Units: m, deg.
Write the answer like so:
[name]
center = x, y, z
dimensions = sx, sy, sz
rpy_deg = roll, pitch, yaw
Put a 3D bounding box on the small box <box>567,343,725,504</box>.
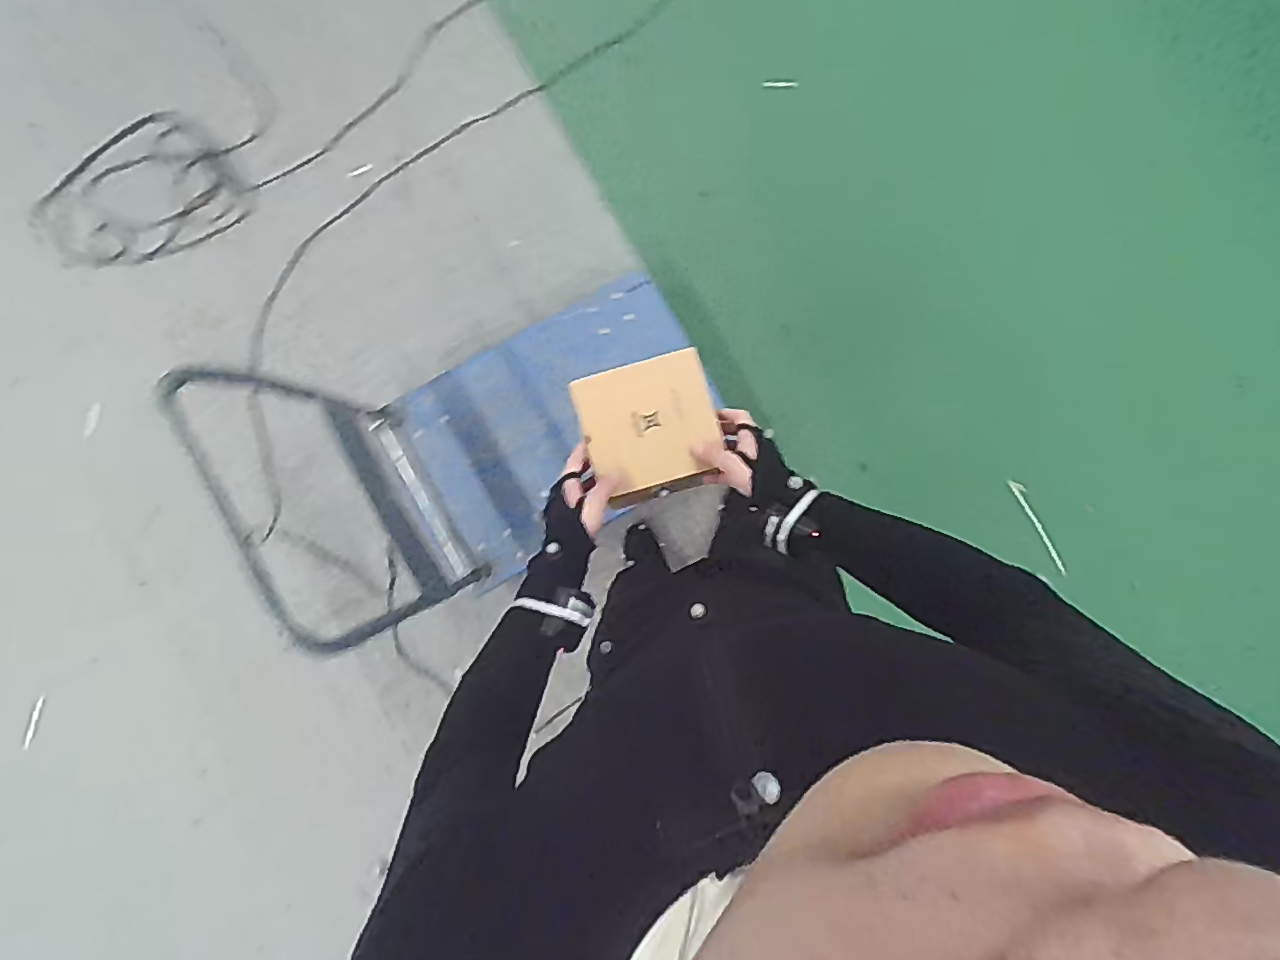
[small box]
center = 0.010, -0.069, 0.772
dimensions = 0.179, 0.176, 0.168
rpy_deg = -15, 81, 0
